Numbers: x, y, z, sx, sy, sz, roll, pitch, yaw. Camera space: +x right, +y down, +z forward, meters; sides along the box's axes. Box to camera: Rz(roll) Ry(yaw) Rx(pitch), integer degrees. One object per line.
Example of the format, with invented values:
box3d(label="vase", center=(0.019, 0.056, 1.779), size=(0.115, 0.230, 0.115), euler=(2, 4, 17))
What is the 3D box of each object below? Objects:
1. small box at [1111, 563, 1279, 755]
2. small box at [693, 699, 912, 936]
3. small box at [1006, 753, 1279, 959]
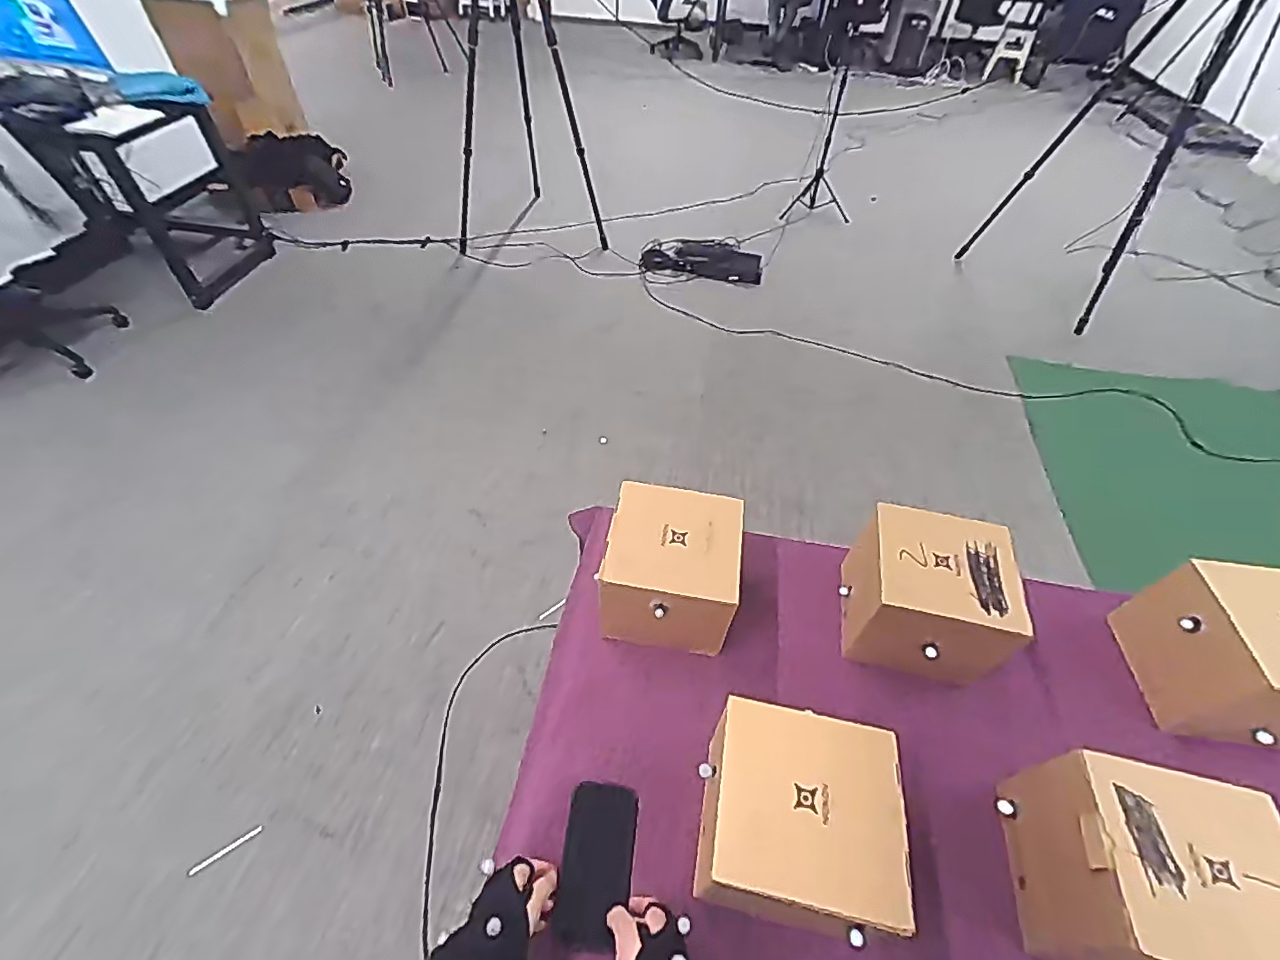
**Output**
box3d(label="small box", center=(0.786, 0.236, 0.713), size=(0.168, 0.176, 0.179), euler=(7, 49, 4))
box3d(label="small box", center=(0.159, 0.361, 0.576), size=(0.179, 0.176, 0.168), euler=(12, 49, 5))
box3d(label="small box", center=(0.508, 0.408, 0.550), size=(0.179, 0.176, 0.168), euler=(12, 49, 7))
